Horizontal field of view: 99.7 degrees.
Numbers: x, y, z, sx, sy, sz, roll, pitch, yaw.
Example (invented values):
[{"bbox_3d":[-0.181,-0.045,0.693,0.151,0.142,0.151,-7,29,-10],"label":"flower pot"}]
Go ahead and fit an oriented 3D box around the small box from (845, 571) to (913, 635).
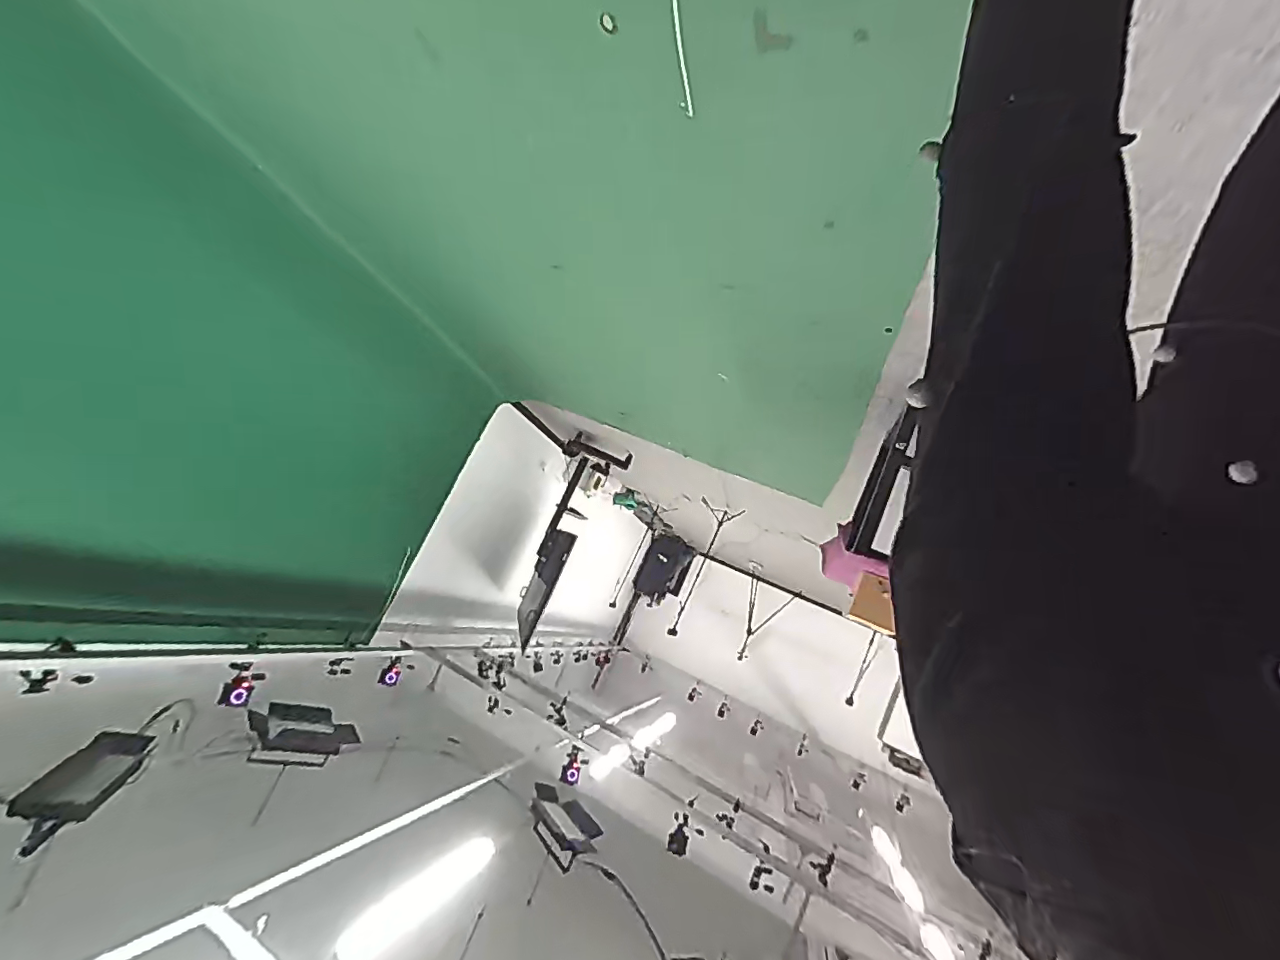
[{"bbox_3d":[0.855,0.440,1.935,0.168,0.176,0.179,21,170,17],"label":"small box"}]
